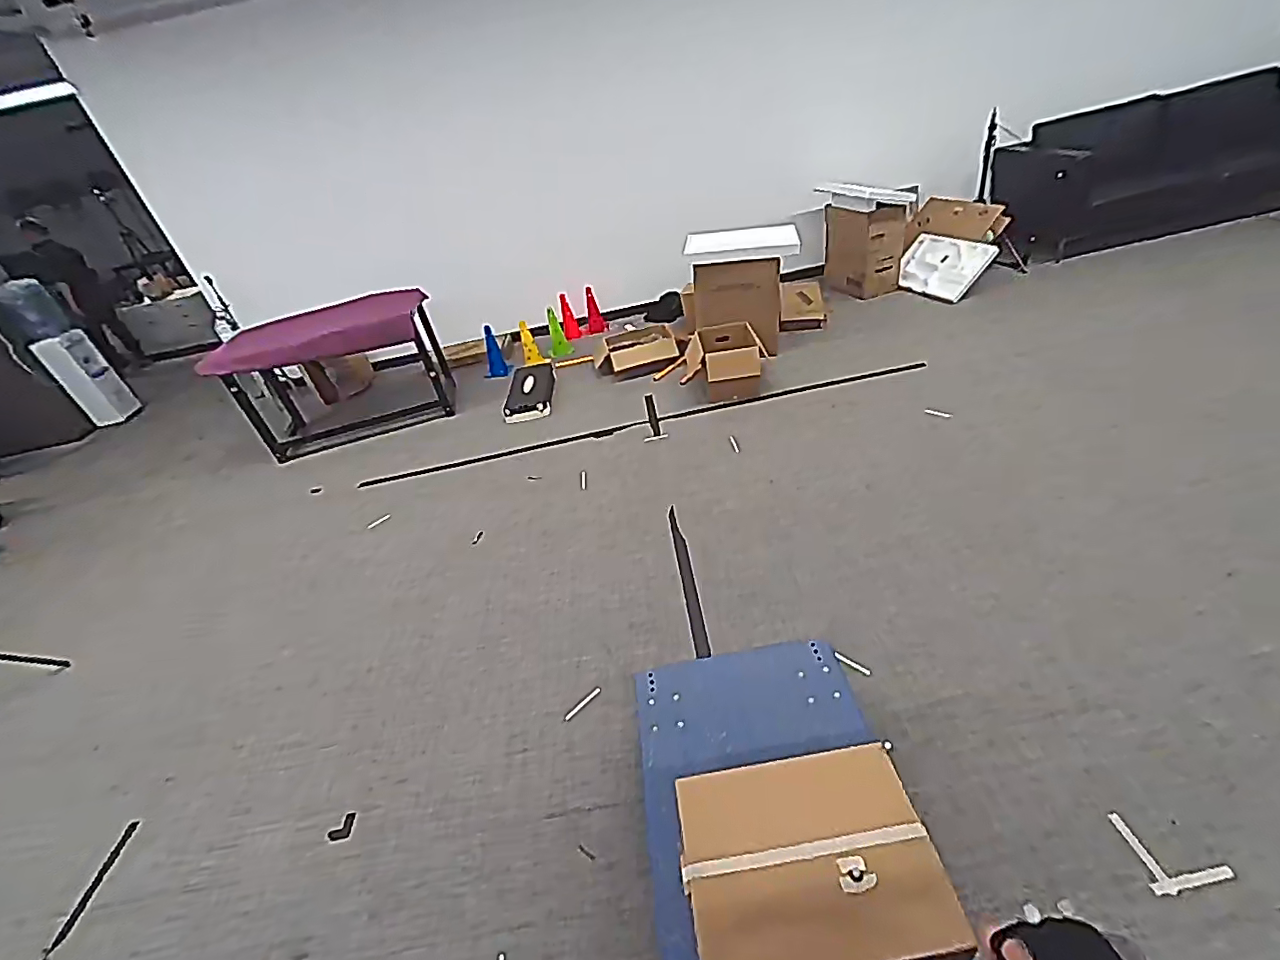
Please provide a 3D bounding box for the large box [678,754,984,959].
[{"bbox_3d":[0.301,0.753,0.966,0.408,0.320,0.320,-11,35,1],"label":"large box"}]
